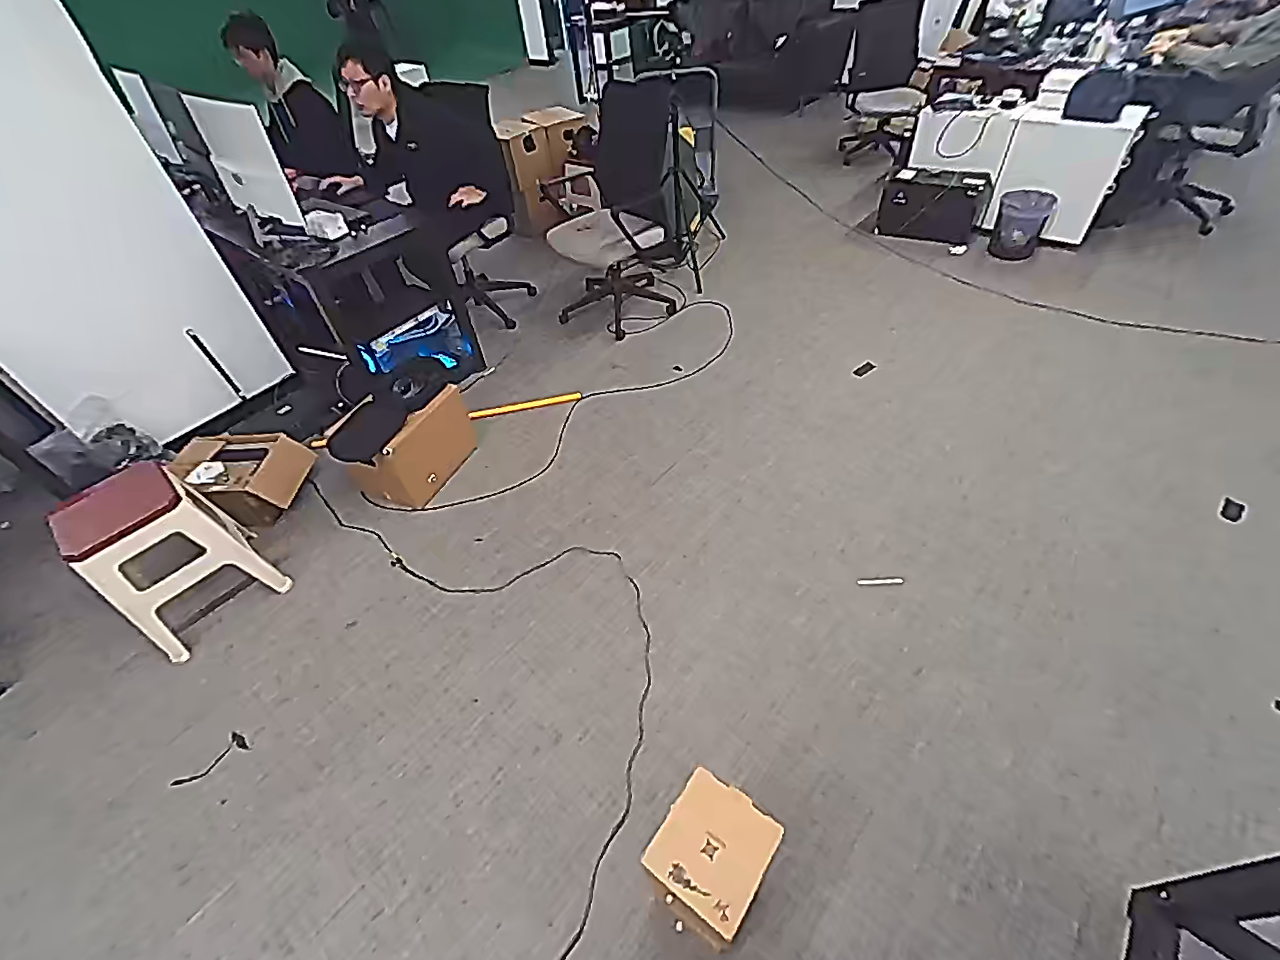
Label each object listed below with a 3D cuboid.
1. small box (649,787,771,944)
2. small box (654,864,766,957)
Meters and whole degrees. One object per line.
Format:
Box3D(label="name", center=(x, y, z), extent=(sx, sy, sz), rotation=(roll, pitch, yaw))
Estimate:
Box3D(label="small box", center=(0.135, 0.741, 1.037), extent=(0.168, 0.176, 0.179), rotation=(24, 51, 25))
Box3D(label="small box", center=(0.146, 0.858, 1.148), extent=(0.168, 0.176, 0.179), rotation=(26, 55, 28))
